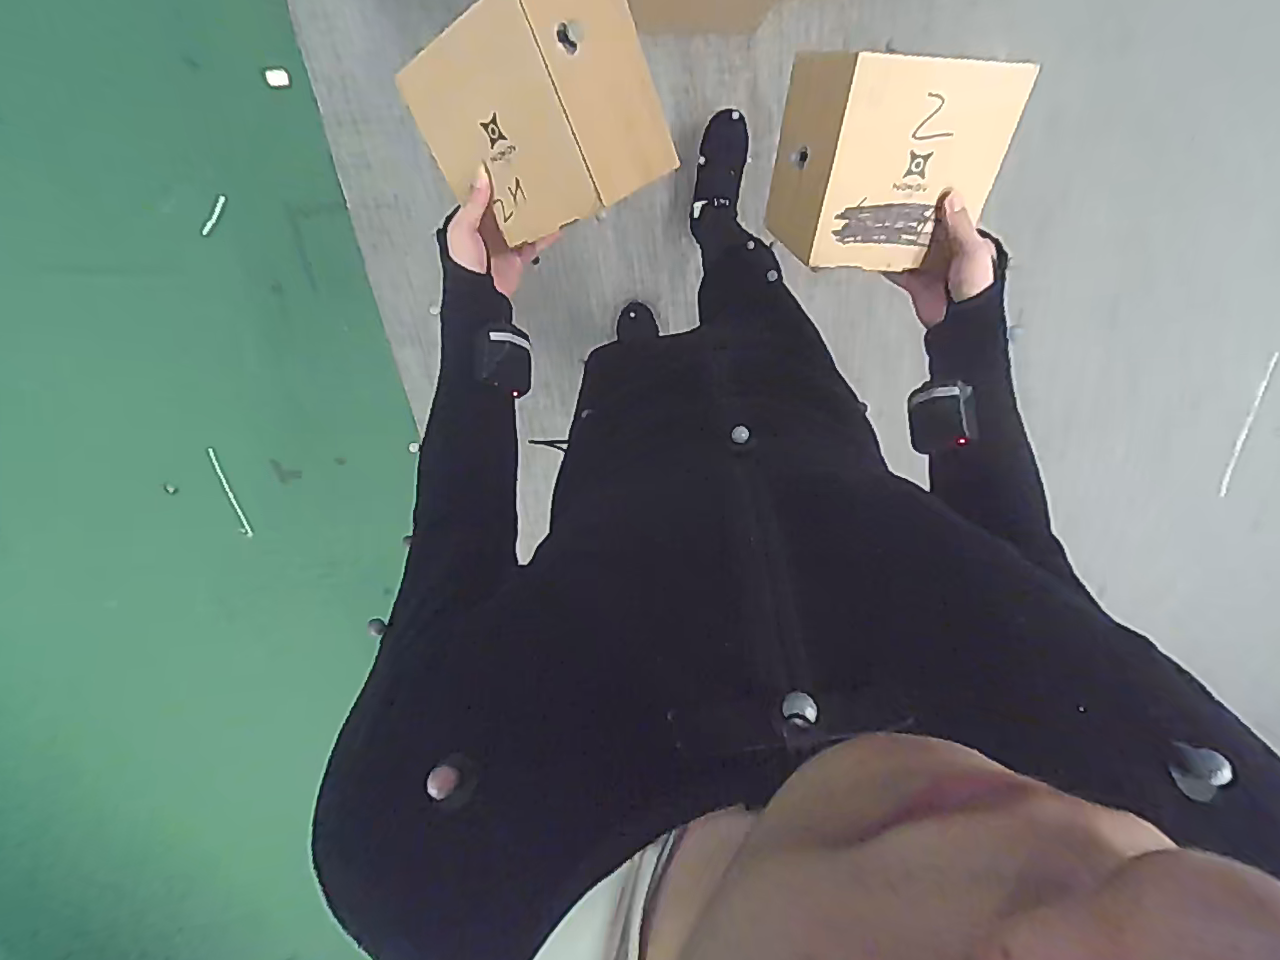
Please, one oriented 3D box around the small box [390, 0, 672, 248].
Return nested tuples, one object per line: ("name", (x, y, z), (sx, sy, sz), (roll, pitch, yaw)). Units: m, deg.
("small box", (-0.093, -0.360, 0.532), (0.168, 0.176, 0.179), (-1, 127, 36))
